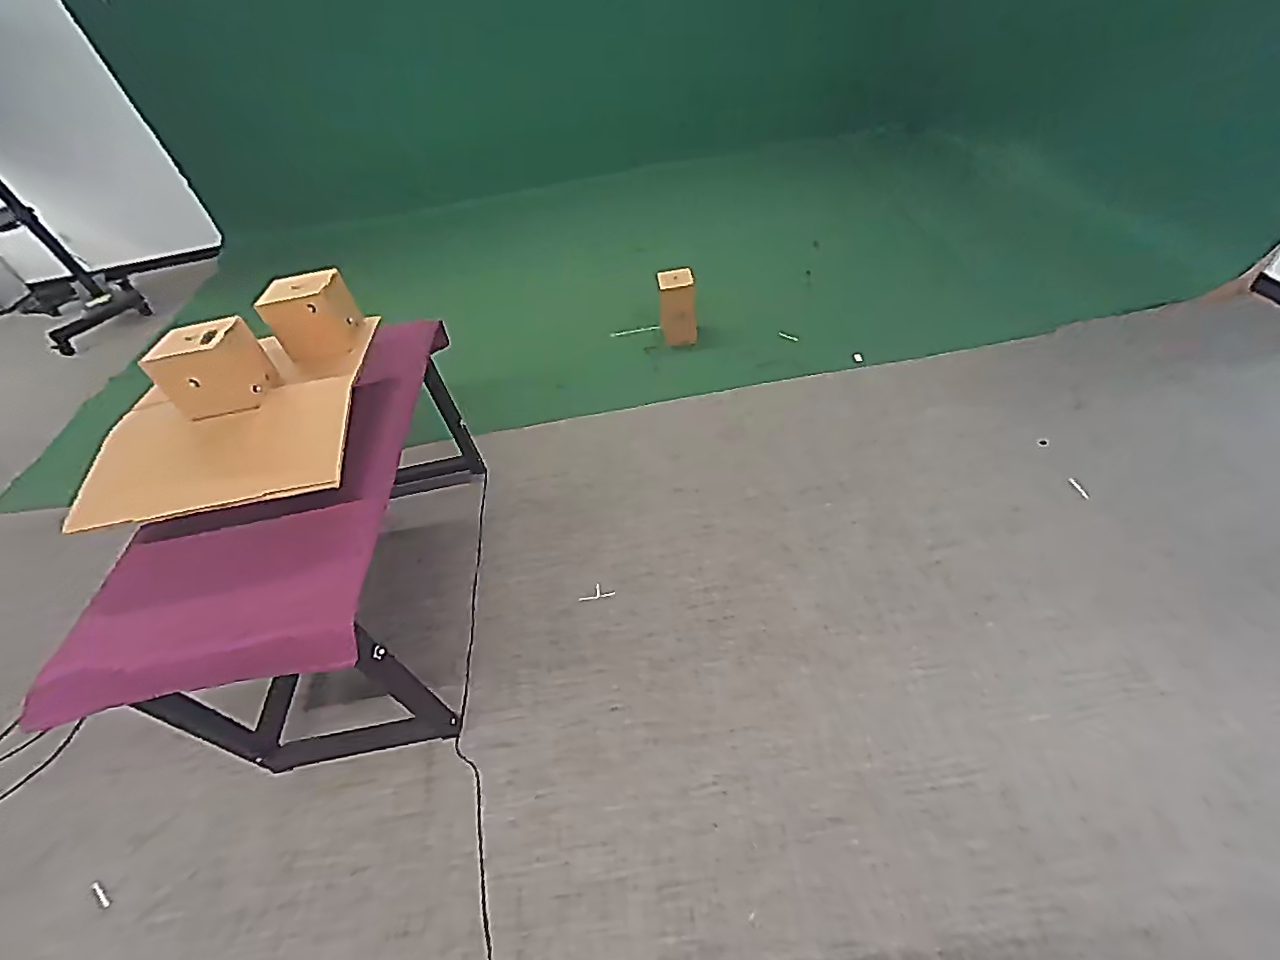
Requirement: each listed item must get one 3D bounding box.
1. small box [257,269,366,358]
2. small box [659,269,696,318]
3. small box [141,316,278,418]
[{"bbox_3d":[-0.895,-0.456,1.490,0.179,0.176,0.168,-11,44,-1],"label":"small box"},{"bbox_3d":[0.189,-0.942,2.734,0.168,0.176,0.179,-8,47,3],"label":"small box"},{"bbox_3d":[-1.045,-0.277,1.334,0.179,0.176,0.168,-12,43,-1],"label":"small box"}]
